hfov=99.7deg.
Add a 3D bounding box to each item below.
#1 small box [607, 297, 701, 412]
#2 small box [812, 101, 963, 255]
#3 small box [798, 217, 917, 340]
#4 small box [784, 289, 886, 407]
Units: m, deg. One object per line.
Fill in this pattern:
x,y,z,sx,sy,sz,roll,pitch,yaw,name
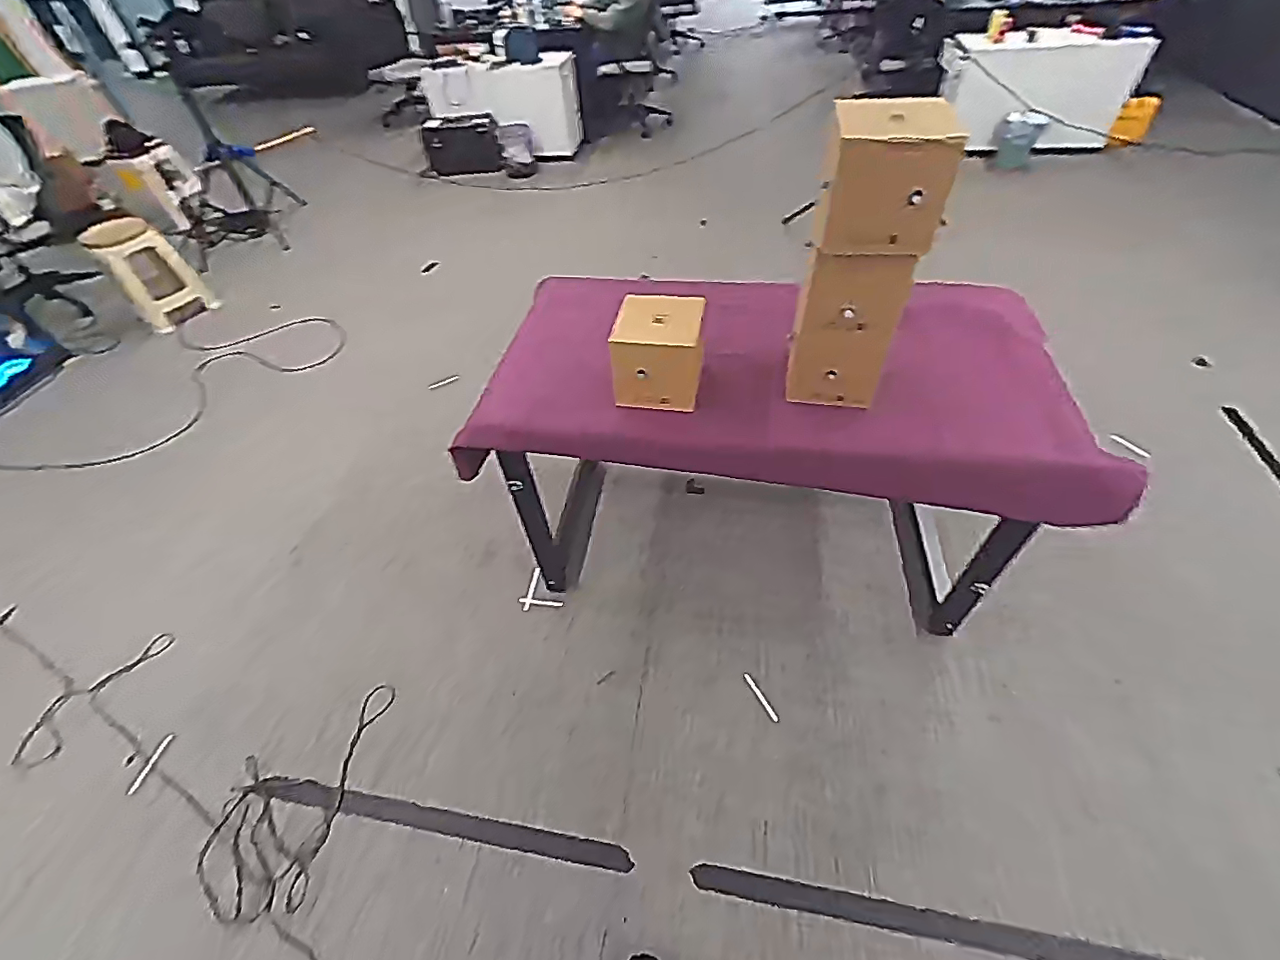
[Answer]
0.036,-0.260,1.130,0.168,0.176,0.179,5,48,9,small box
0.372,-0.470,0.850,0.168,0.176,0.179,4,49,8,small box
0.384,-0.380,0.986,0.168,0.176,0.179,6,50,11,small box
0.391,-0.269,1.107,0.168,0.176,0.179,7,49,10,small box
